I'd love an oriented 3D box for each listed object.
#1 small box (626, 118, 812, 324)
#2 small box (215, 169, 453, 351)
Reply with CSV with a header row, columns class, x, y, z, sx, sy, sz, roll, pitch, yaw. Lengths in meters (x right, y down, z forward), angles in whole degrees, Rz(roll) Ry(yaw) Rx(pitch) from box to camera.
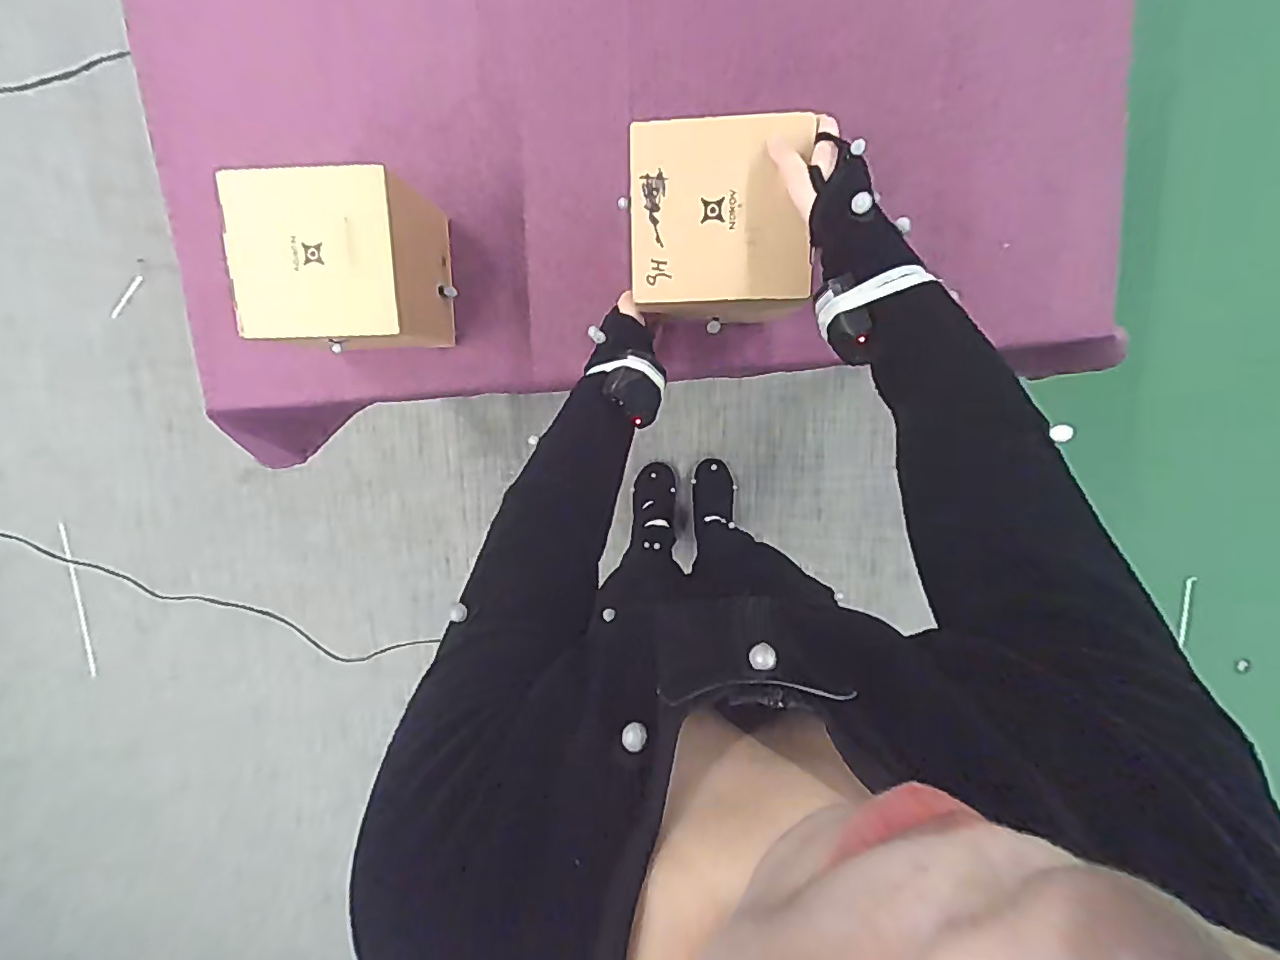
class,x,y,z,sx,sy,sz,roll,pitch,yaw
small box,0.078,-0.269,0.597,0.179,0.176,0.168,-1,99,4
small box,-0.338,-0.241,0.632,0.179,0.176,0.168,-1,100,1
